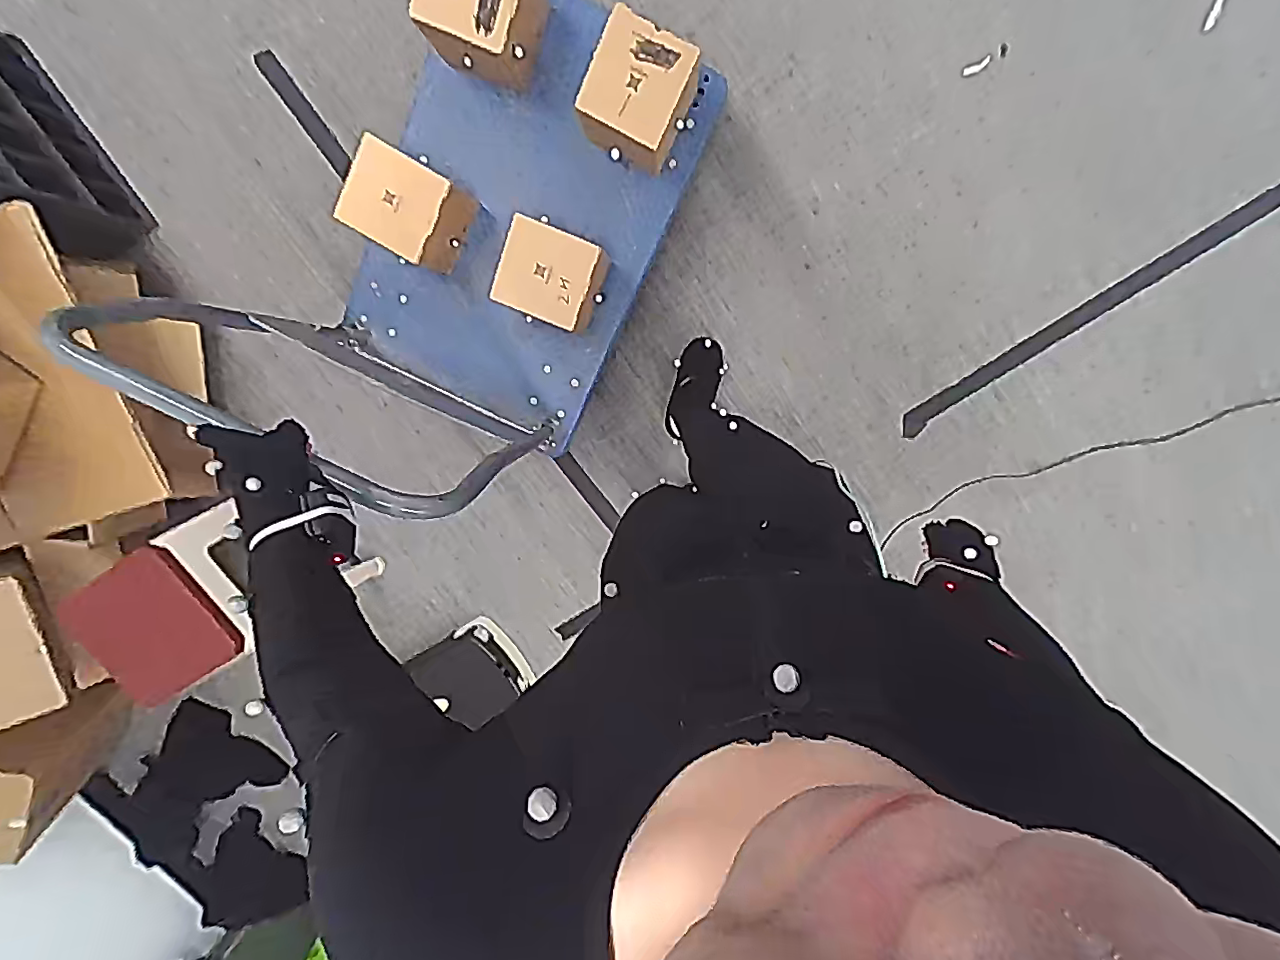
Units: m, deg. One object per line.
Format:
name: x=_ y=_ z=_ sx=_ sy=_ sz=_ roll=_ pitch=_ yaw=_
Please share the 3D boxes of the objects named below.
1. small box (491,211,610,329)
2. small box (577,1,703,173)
small box: x=-0.174 y=-0.412 z=1.098 sx=0.179 sy=0.176 sz=0.168 roll=22 pitch=104 yaw=-3
small box: x=0.001 y=-0.719 z=1.013 sx=0.168 sy=0.176 sz=0.179 roll=27 pitch=105 yaw=-4
